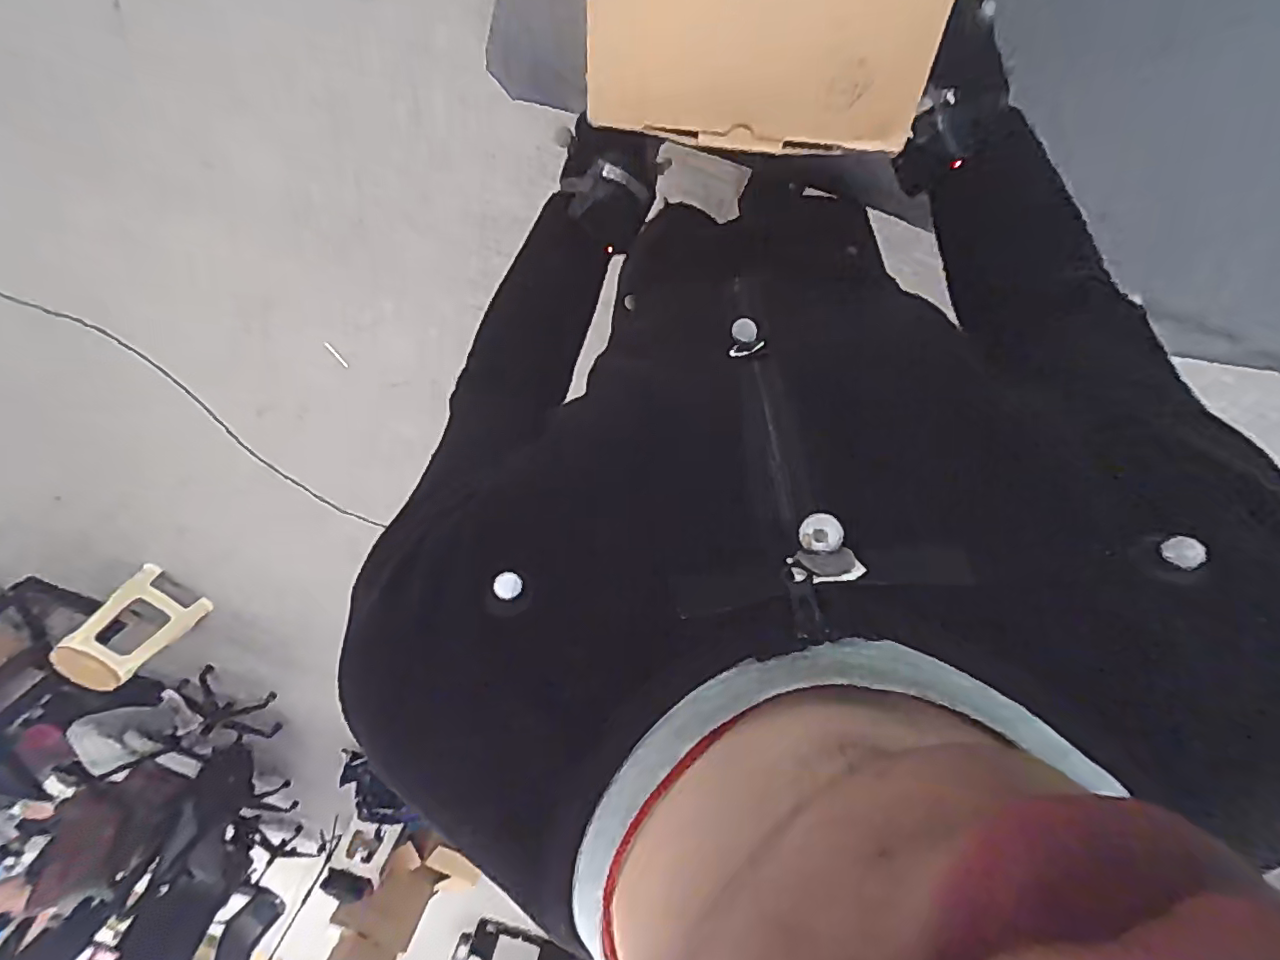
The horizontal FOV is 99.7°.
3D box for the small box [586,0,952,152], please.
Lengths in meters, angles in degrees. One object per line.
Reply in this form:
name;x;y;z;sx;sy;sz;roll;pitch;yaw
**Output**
small box;0.072;-0.293;0.281;0.168;0.176;0.179;9;131;5
